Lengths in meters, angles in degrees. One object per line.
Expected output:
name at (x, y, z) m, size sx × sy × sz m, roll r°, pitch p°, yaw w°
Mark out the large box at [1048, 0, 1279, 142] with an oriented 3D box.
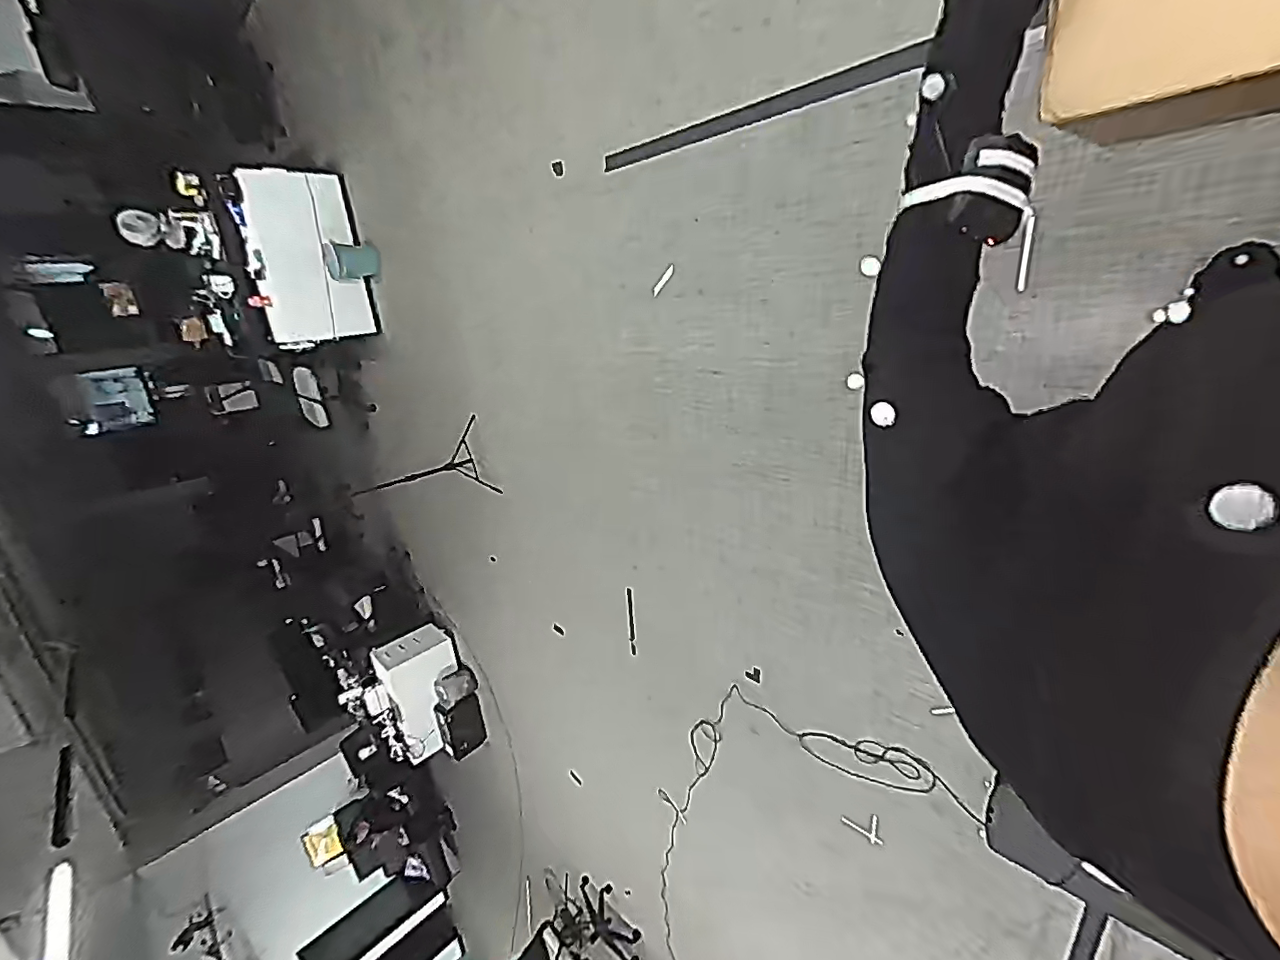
large box at (0.532, -0.447, 0.328) m, size 0.408 × 0.320 × 0.320 m, roll 11°, pitch 118°, yaw 43°
